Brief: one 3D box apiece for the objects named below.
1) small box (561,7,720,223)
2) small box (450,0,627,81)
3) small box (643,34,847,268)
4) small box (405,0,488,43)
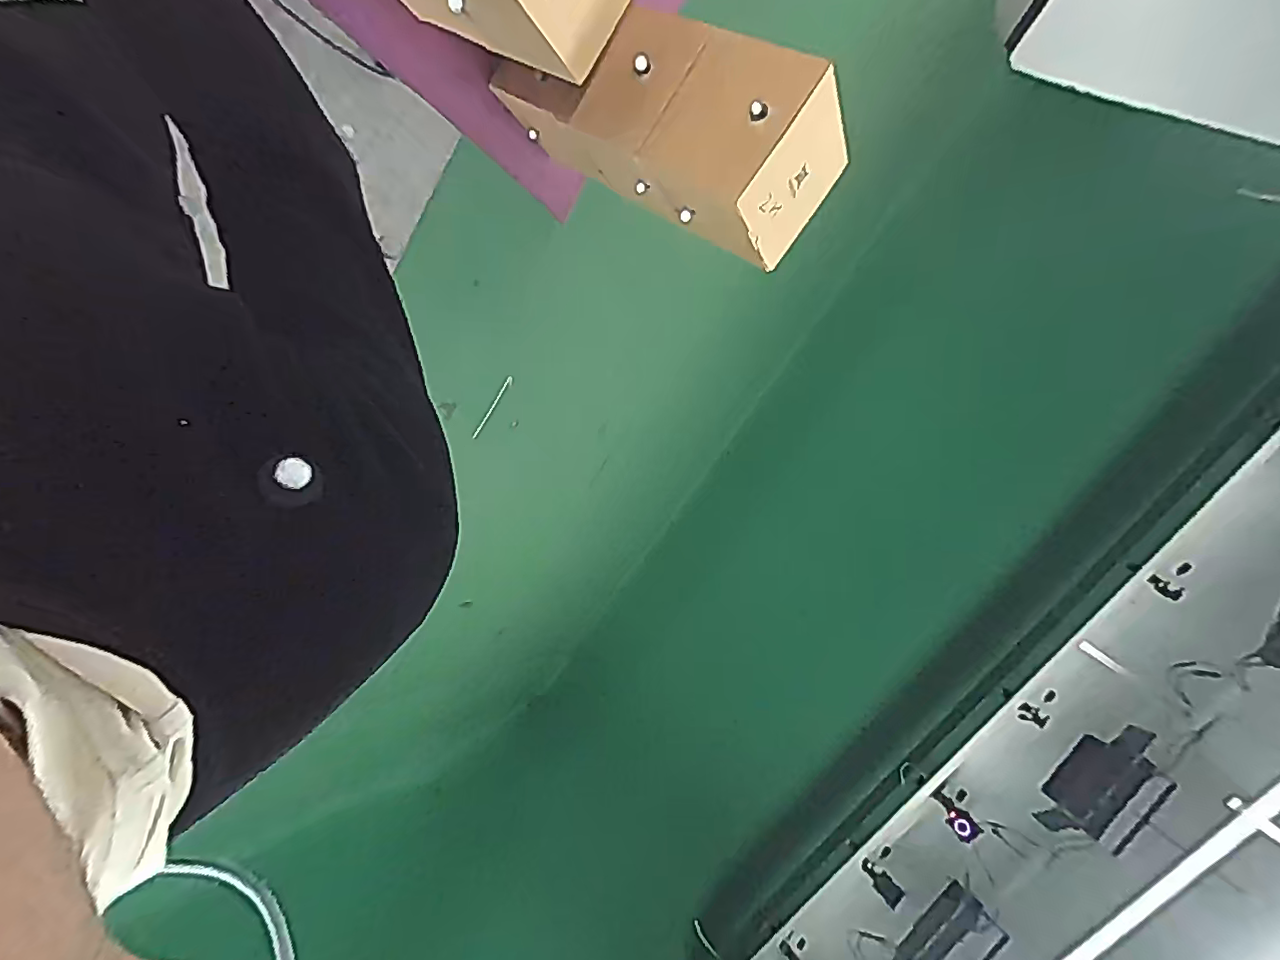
[{"bbox_3d":[0.022,-0.514,0.767,0.179,0.176,0.168,-55,153,10],"label":"small box"},{"bbox_3d":[-0.110,-0.545,0.519,0.179,0.176,0.168,-55,154,12],"label":"small box"},{"bbox_3d":[0.136,-0.419,0.696,0.179,0.176,0.168,-53,153,10],"label":"small box"},{"bbox_3d":[-0.225,-0.639,0.589,0.179,0.176,0.168,-56,154,12],"label":"small box"}]
